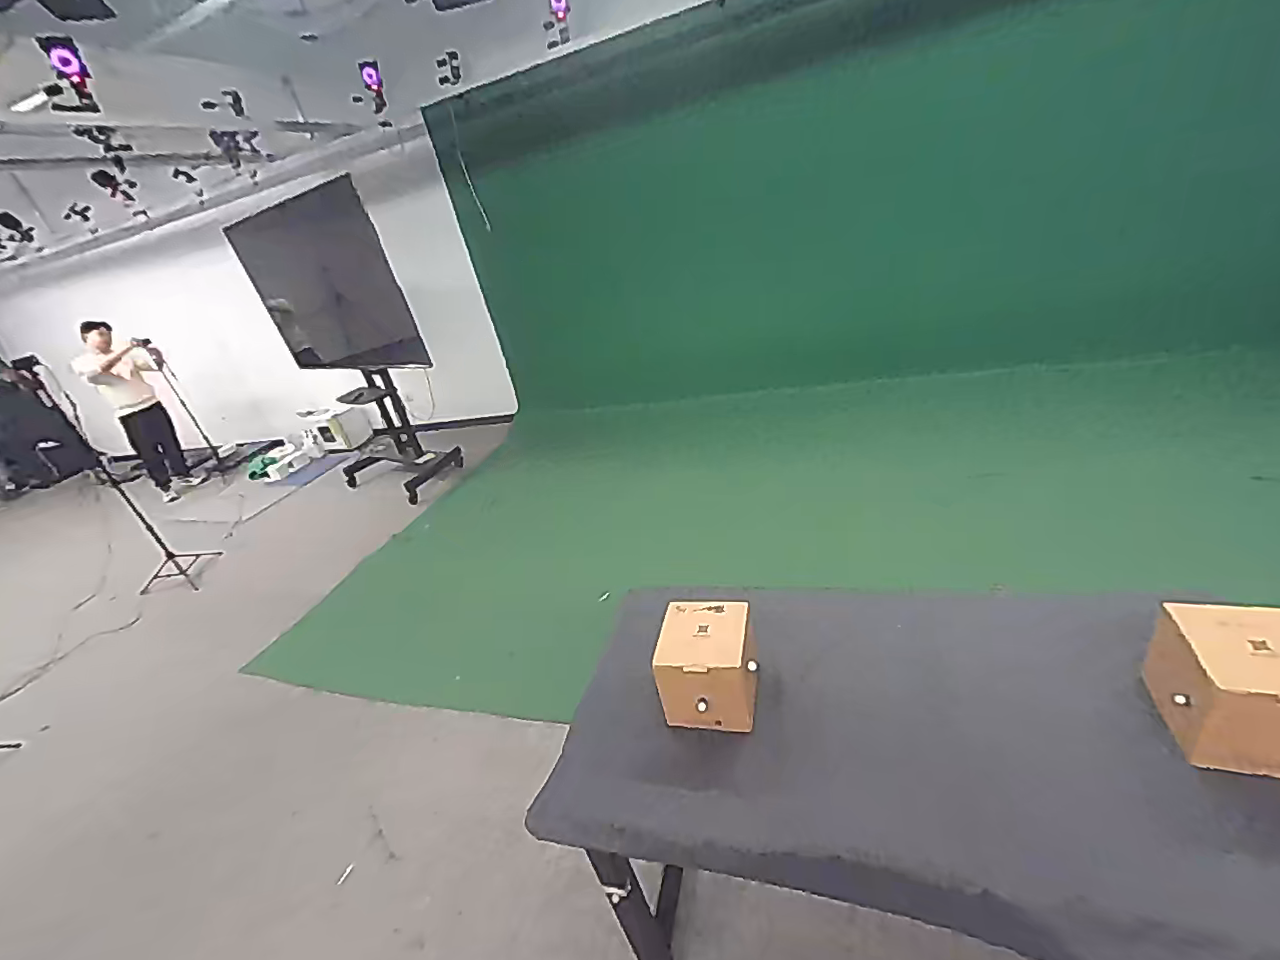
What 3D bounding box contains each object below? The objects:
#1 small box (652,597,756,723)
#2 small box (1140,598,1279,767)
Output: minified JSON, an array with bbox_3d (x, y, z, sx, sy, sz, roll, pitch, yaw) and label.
[{"bbox_3d":[0.136,0.353,1.072,0.168,0.176,0.179,-3,29,18],"label":"small box"},{"bbox_3d":[0.897,0.301,0.807,0.168,0.176,0.179,-1,29,22],"label":"small box"}]
